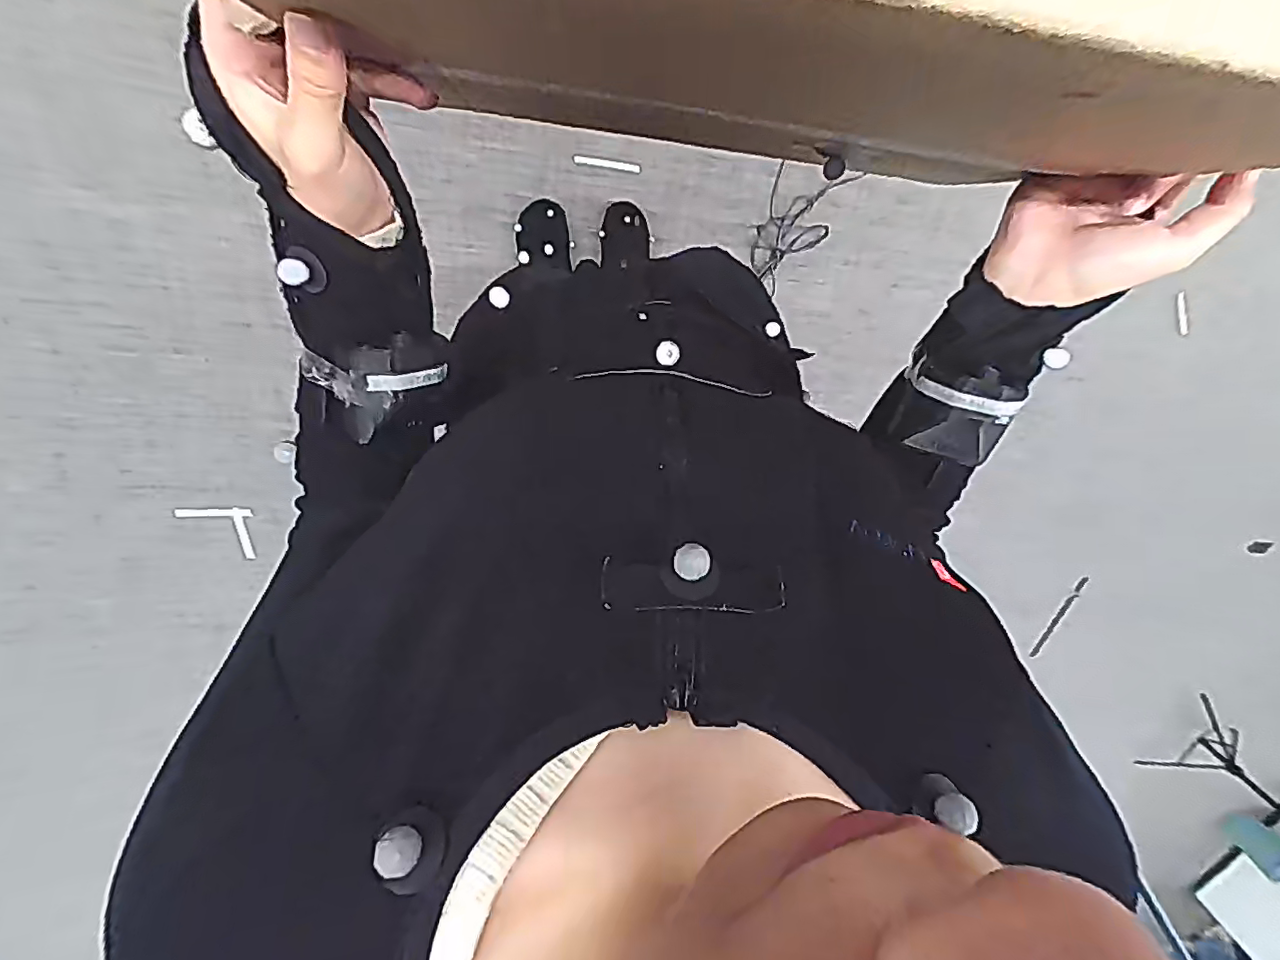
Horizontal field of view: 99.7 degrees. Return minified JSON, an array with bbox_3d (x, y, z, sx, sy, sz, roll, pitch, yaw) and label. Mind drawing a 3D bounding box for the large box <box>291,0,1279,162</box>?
[{"bbox_3d":[0.072,-0.322,0.188,0.408,0.320,0.320,2,118,-9],"label":"large box"}]
